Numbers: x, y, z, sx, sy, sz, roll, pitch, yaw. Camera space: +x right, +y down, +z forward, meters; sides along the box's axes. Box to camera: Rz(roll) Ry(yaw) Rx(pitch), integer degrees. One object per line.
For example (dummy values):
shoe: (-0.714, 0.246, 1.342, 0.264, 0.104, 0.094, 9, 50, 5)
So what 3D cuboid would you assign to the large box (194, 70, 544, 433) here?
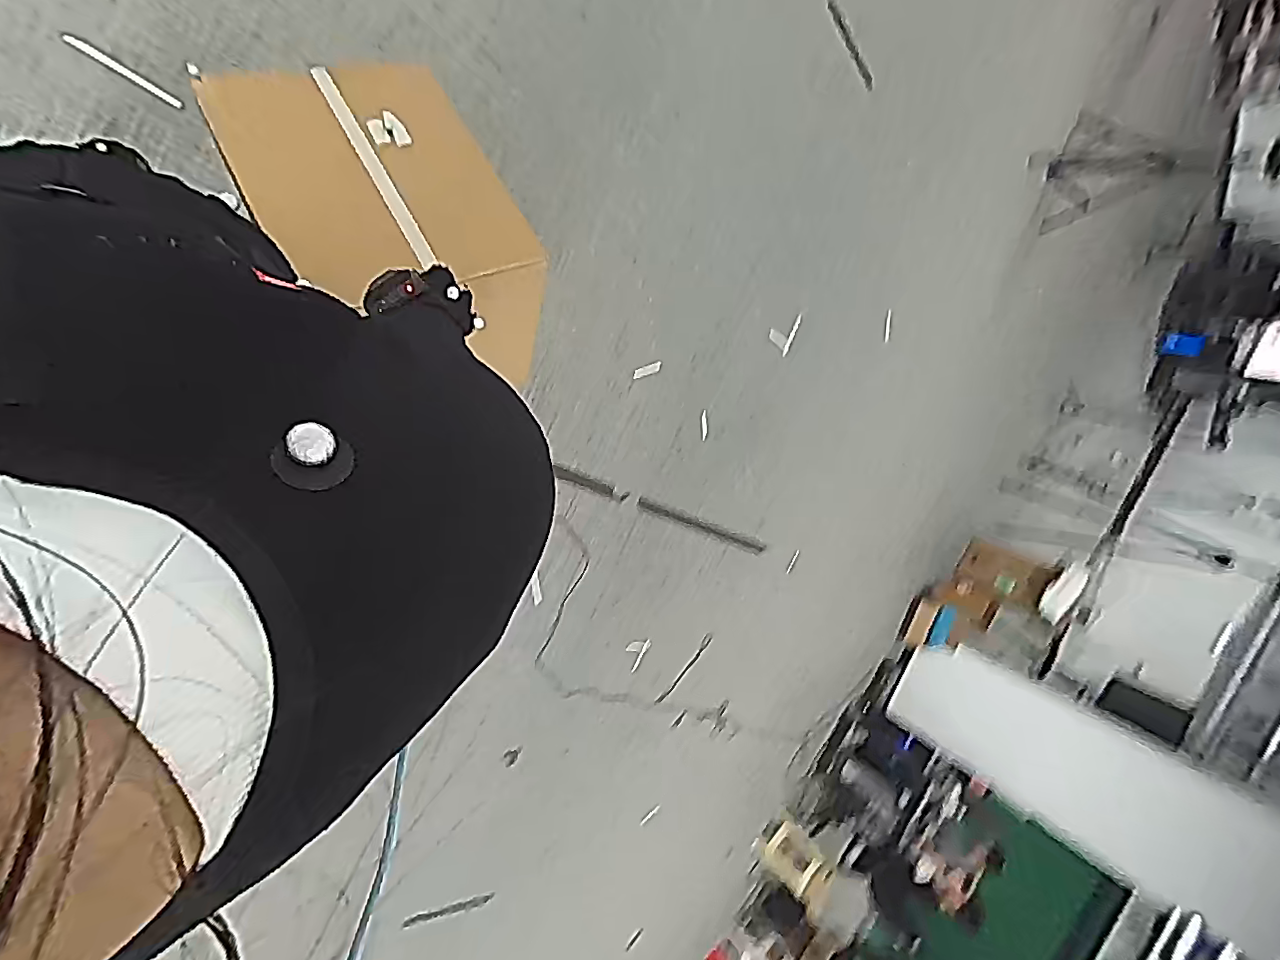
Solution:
large box: (-0.399, -0.352, 0.864, 0.320, 0.408, 0.320, -26, 167, -27)
